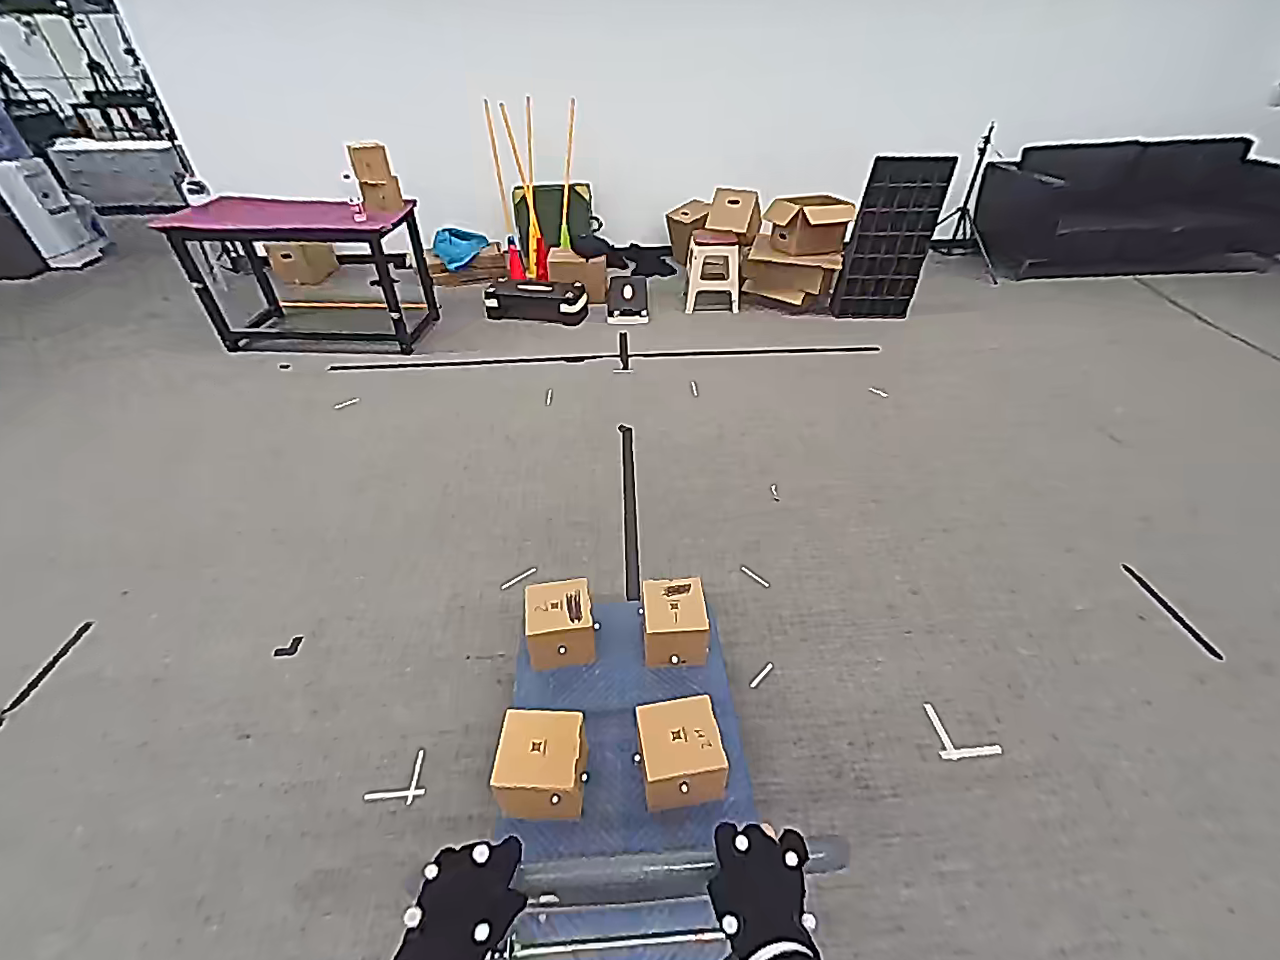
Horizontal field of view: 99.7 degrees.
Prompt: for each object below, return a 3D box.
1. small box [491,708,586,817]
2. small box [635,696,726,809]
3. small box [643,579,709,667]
[{"bbox_3d":[-0.220,0.639,1.220,0.179,0.176,0.168,2,39,1],"label":"small box"},{"bbox_3d":[0.087,0.624,1.235,0.179,0.176,0.168,-6,40,-6],"label":"small box"},{"bbox_3d":[0.094,0.400,1.511,0.168,0.176,0.179,-2,40,-2],"label":"small box"}]
